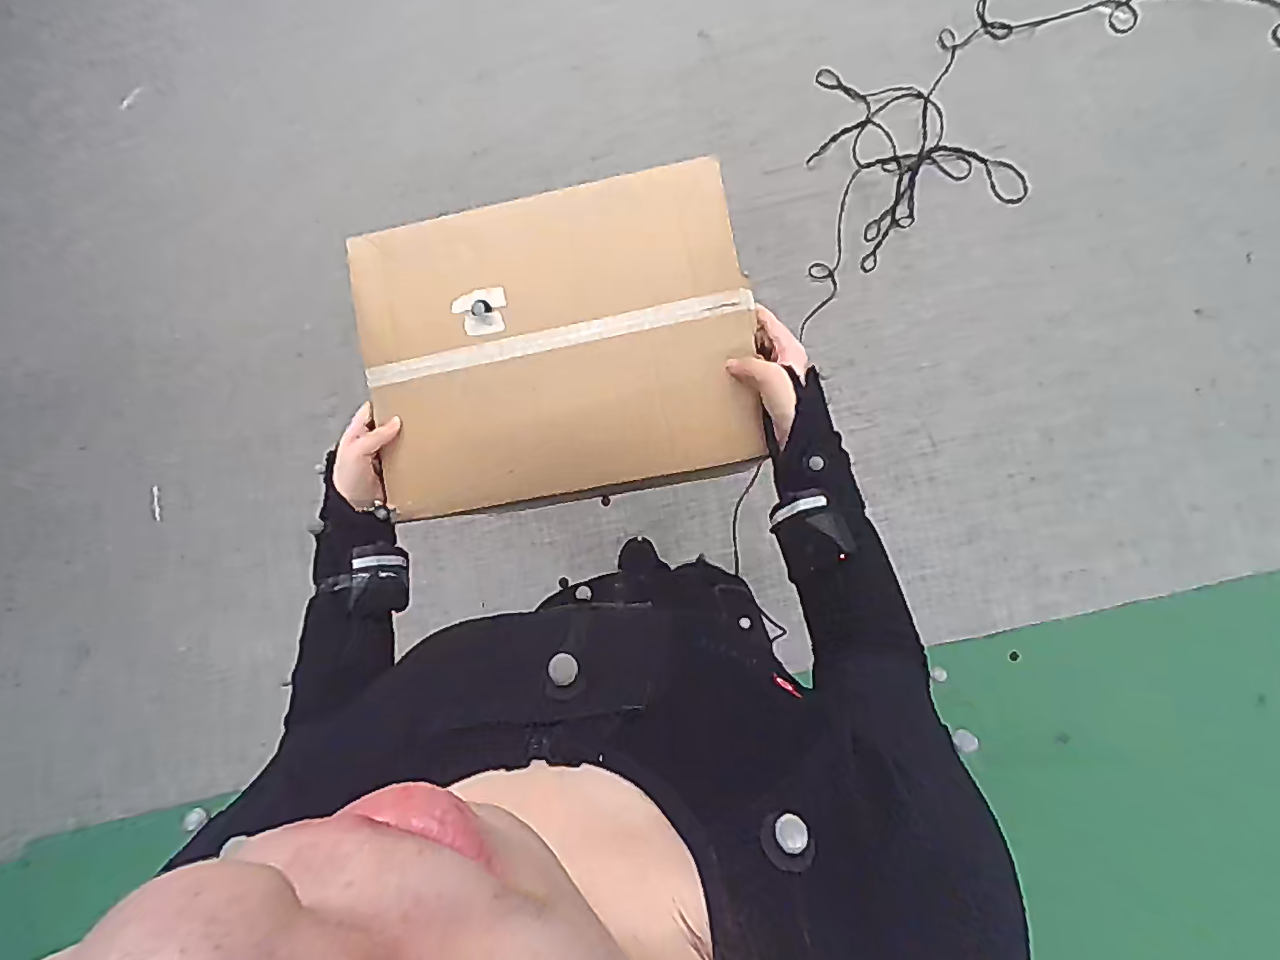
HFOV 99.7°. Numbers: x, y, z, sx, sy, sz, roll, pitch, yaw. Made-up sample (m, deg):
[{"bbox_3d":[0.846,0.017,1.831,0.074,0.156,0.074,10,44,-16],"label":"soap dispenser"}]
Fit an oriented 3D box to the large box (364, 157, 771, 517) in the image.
[{"bbox_3d":[-0.069,-0.145,0.719,0.408,0.320,0.320,-10,87,7],"label":"large box"}]
